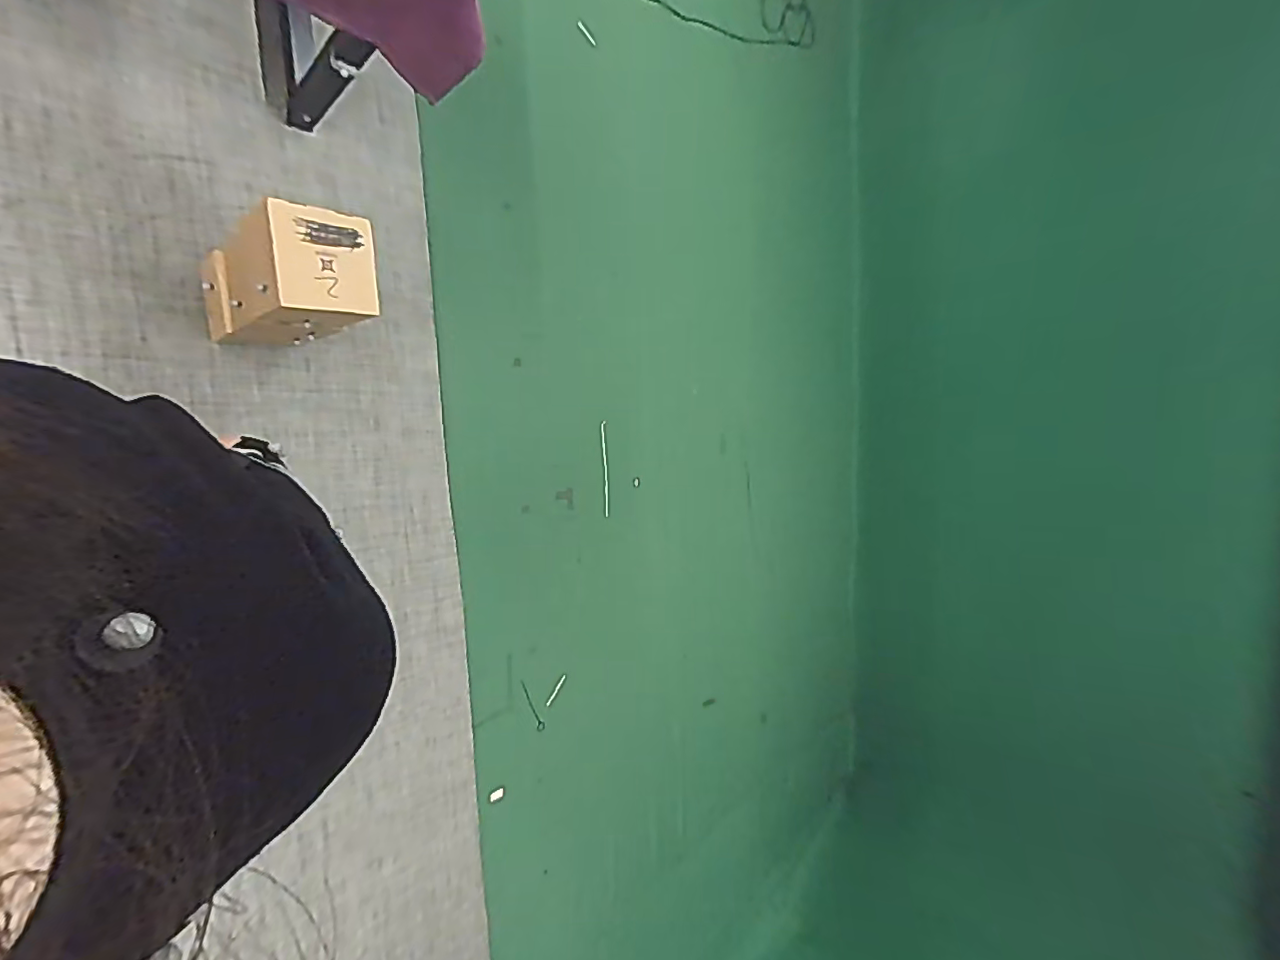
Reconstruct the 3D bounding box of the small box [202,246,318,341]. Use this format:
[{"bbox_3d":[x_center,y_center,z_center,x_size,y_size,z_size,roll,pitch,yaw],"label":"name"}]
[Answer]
[{"bbox_3d":[-0.857,-0.408,1.215,0.179,0.176,0.168,-13,103,-47],"label":"small box"}]
